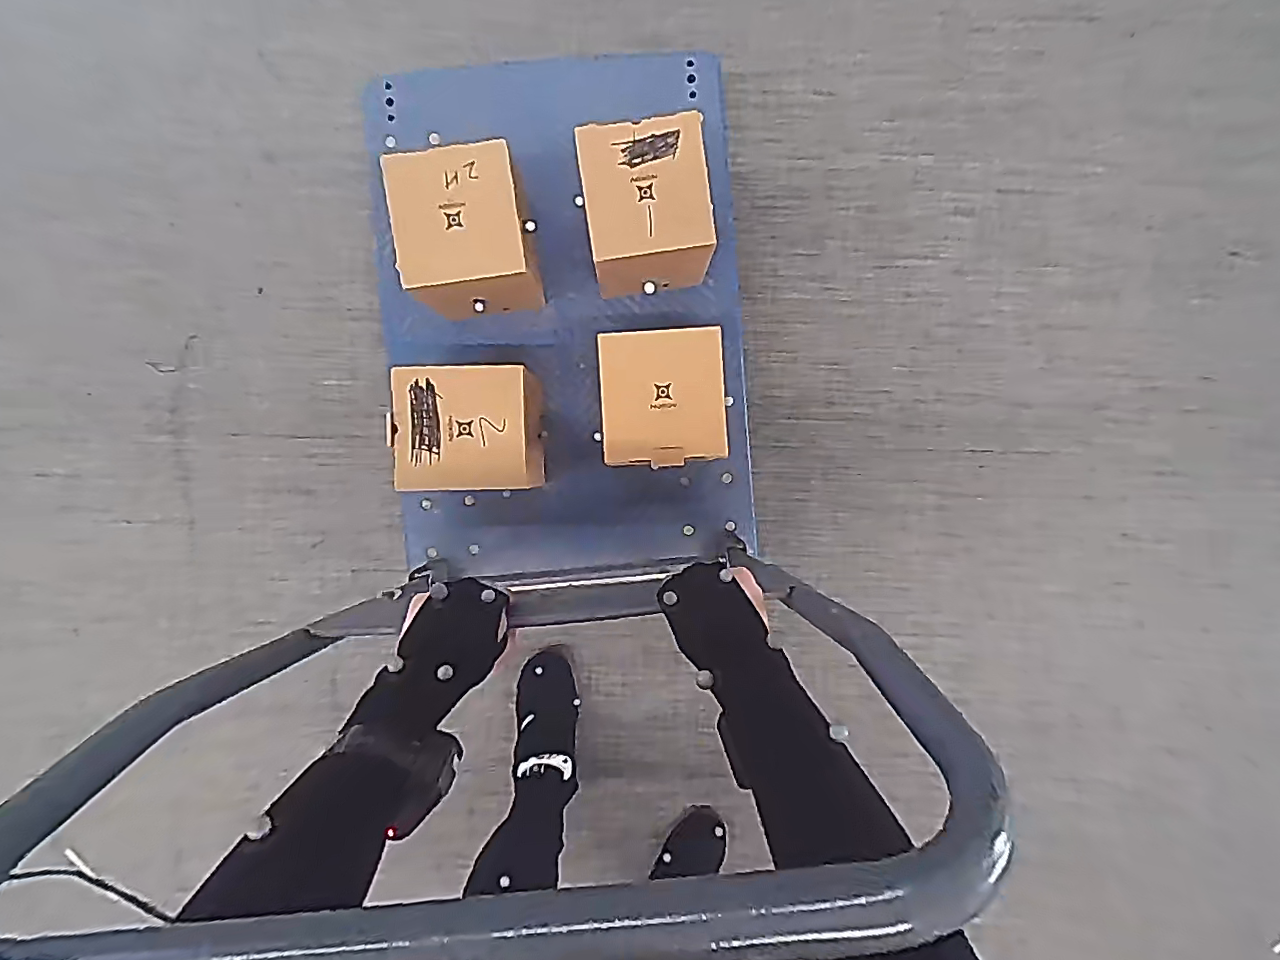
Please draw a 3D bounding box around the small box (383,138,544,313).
[{"bbox_3d":[-0.240,-0.349,0.778,0.168,0.176,0.179,-8,93,-1],"label":"small box"}]

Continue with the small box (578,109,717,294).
[{"bbox_3d":[0.009,-0.387,0.779,0.168,0.176,0.179,-8,93,0],"label":"small box"}]

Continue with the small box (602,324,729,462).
[{"bbox_3d":[0.031,-0.118,0.792,0.168,0.176,0.179,-4,93,-1],"label":"small box"}]
